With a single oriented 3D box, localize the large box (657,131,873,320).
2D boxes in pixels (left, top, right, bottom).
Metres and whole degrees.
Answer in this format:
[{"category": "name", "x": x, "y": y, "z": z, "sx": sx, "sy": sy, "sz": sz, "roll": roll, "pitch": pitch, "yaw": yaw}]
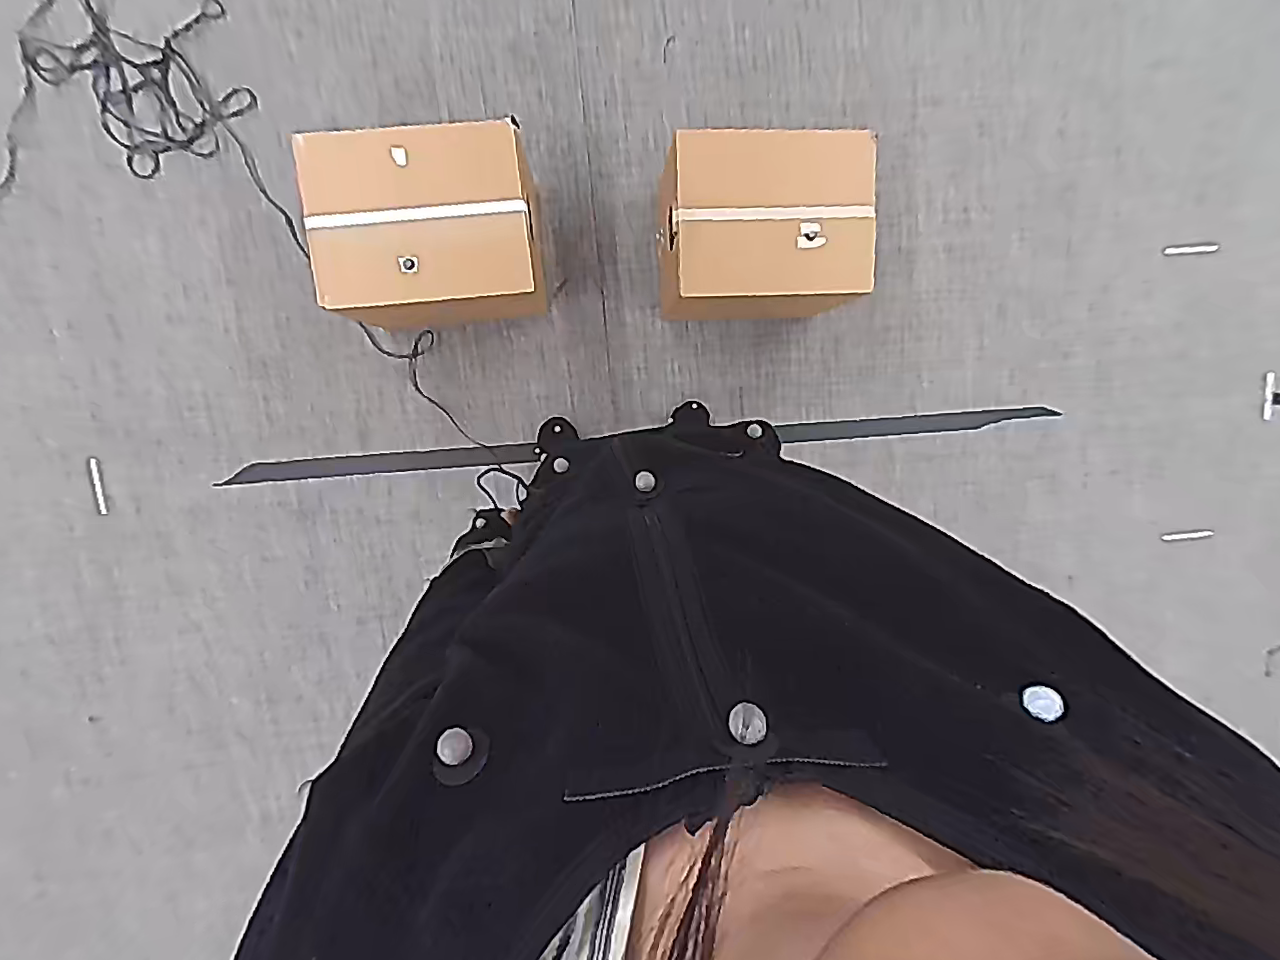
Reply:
[{"category": "large box", "x": 0.260, "y": -0.553, "z": 1.230, "sx": 0.408, "sy": 0.320, "sz": 0.320, "roll": -3, "pitch": 98, "yaw": -5}]
